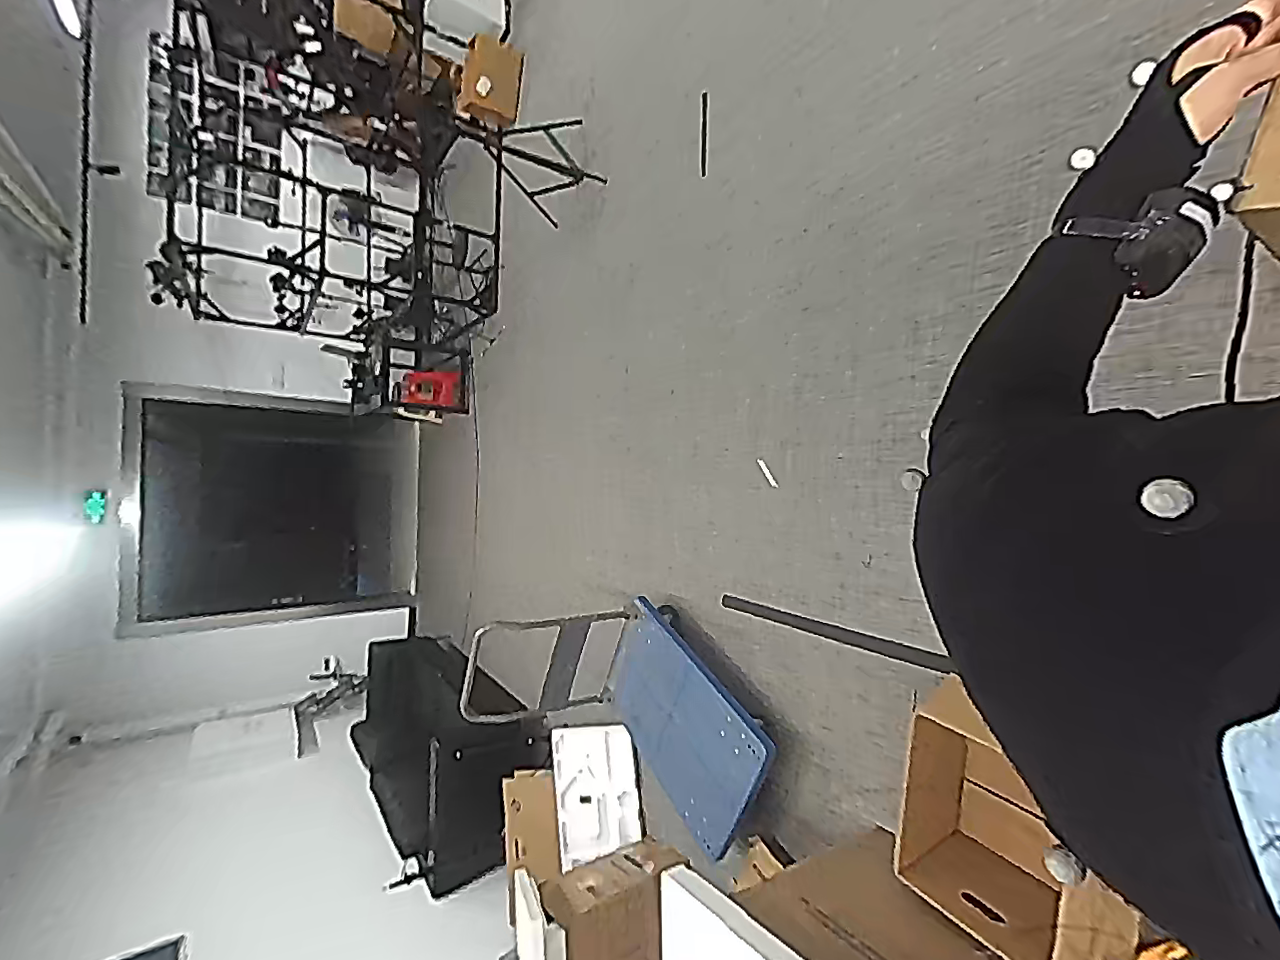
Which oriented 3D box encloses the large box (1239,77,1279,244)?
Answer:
[{"bbox_3d":[0.693,-0.305,0.288,0.408,0.320,0.320,26,112,55],"label":"large box"}]
